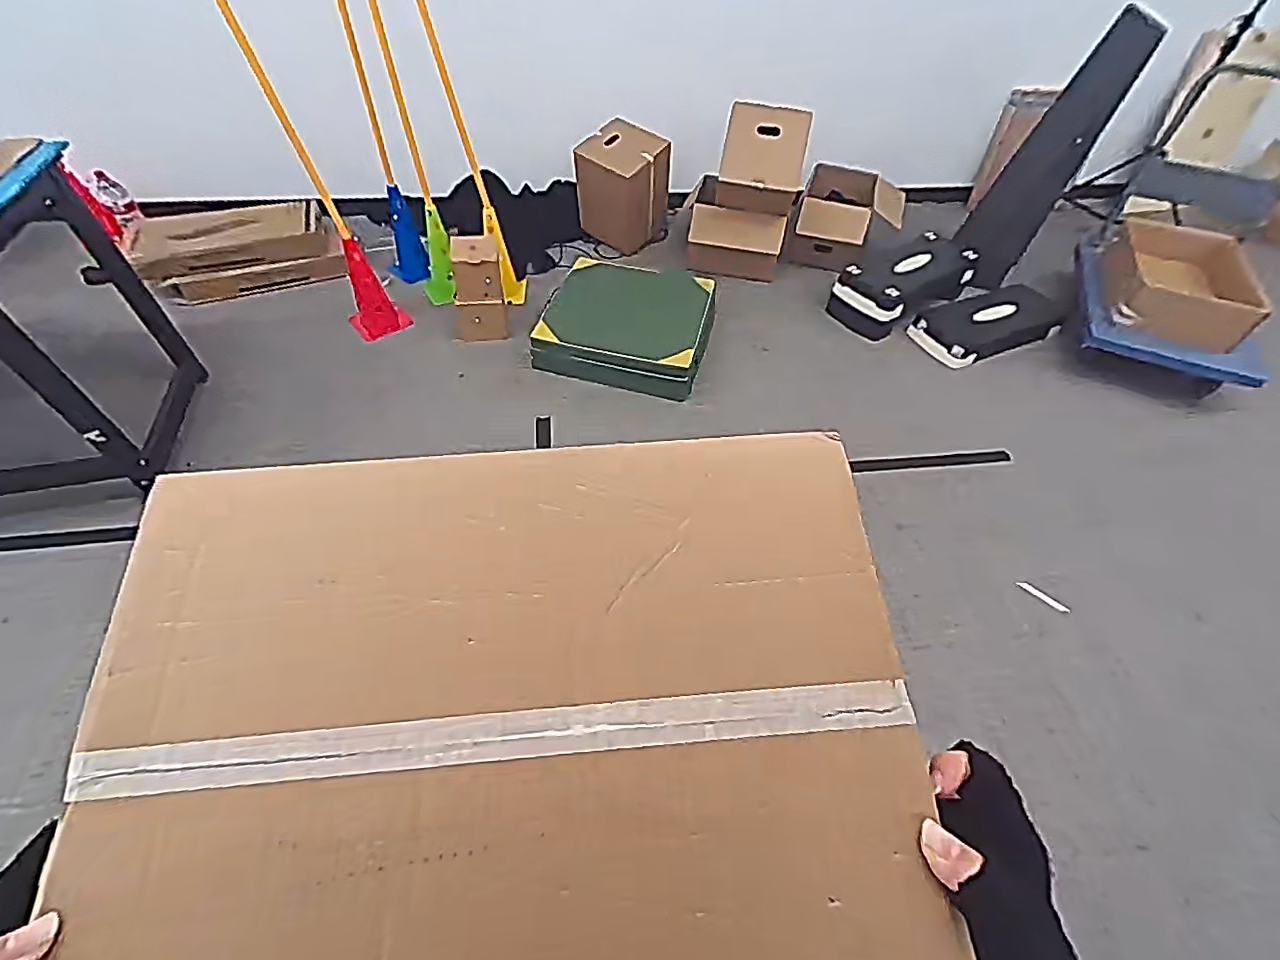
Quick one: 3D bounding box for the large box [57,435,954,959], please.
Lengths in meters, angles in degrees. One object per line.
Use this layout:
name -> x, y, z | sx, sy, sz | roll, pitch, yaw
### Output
large box -> -0.069, 0.185, 0.417 | 0.408, 0.320, 0.320 | -4, 67, -2
